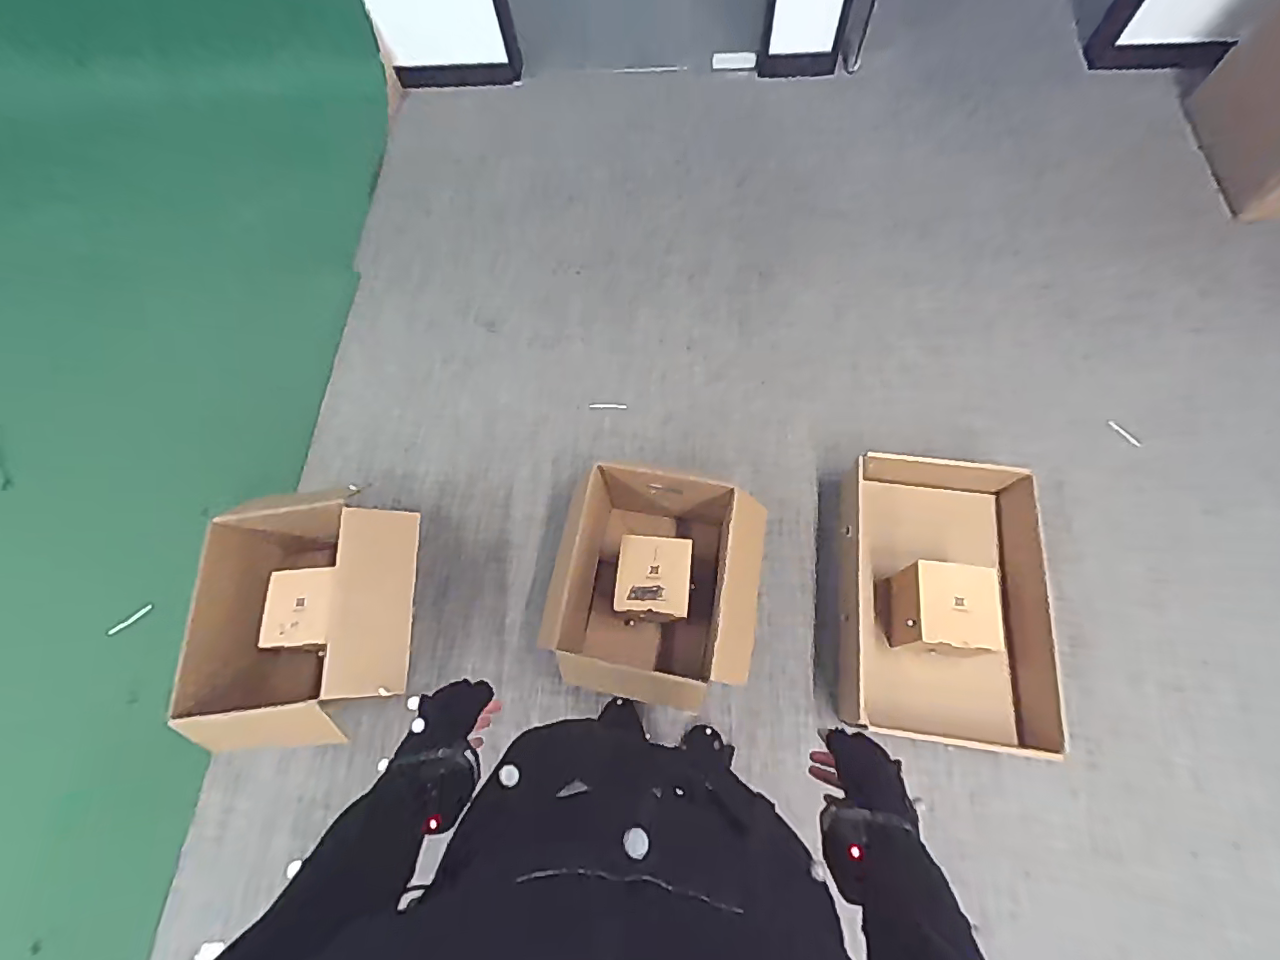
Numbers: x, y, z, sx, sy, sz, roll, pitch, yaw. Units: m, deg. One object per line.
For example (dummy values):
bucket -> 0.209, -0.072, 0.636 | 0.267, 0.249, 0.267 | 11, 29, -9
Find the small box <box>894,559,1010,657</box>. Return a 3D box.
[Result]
small box -> 0.678, 0.288, 1.198 | 0.168, 0.176, 0.179 | 6, 69, 6
